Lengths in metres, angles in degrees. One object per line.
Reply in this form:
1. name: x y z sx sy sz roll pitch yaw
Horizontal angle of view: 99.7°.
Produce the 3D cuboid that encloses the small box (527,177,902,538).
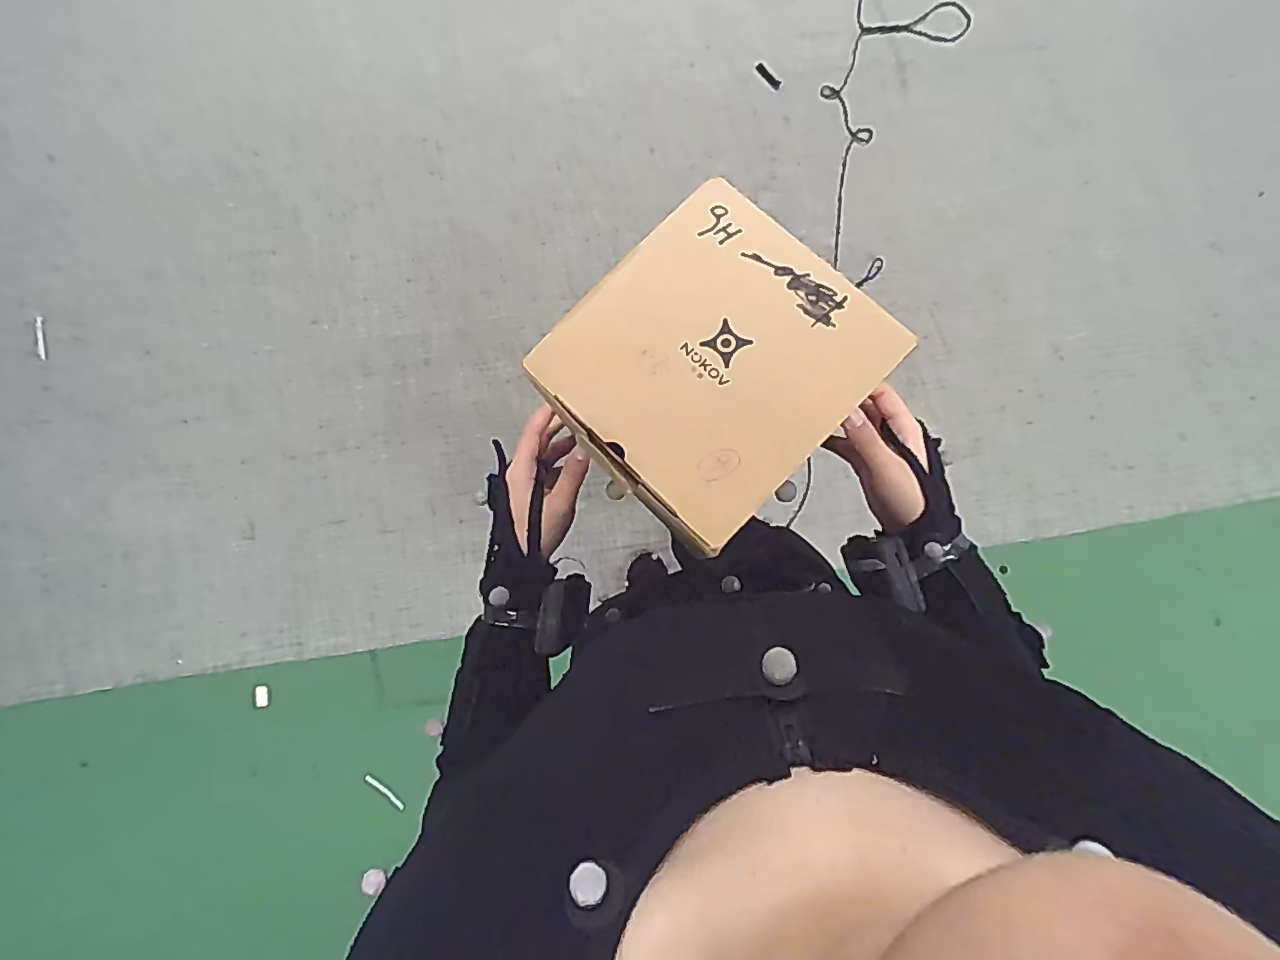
1. small box: 0.050 -0.070 0.411 0.168 0.176 0.179 44 87 9
